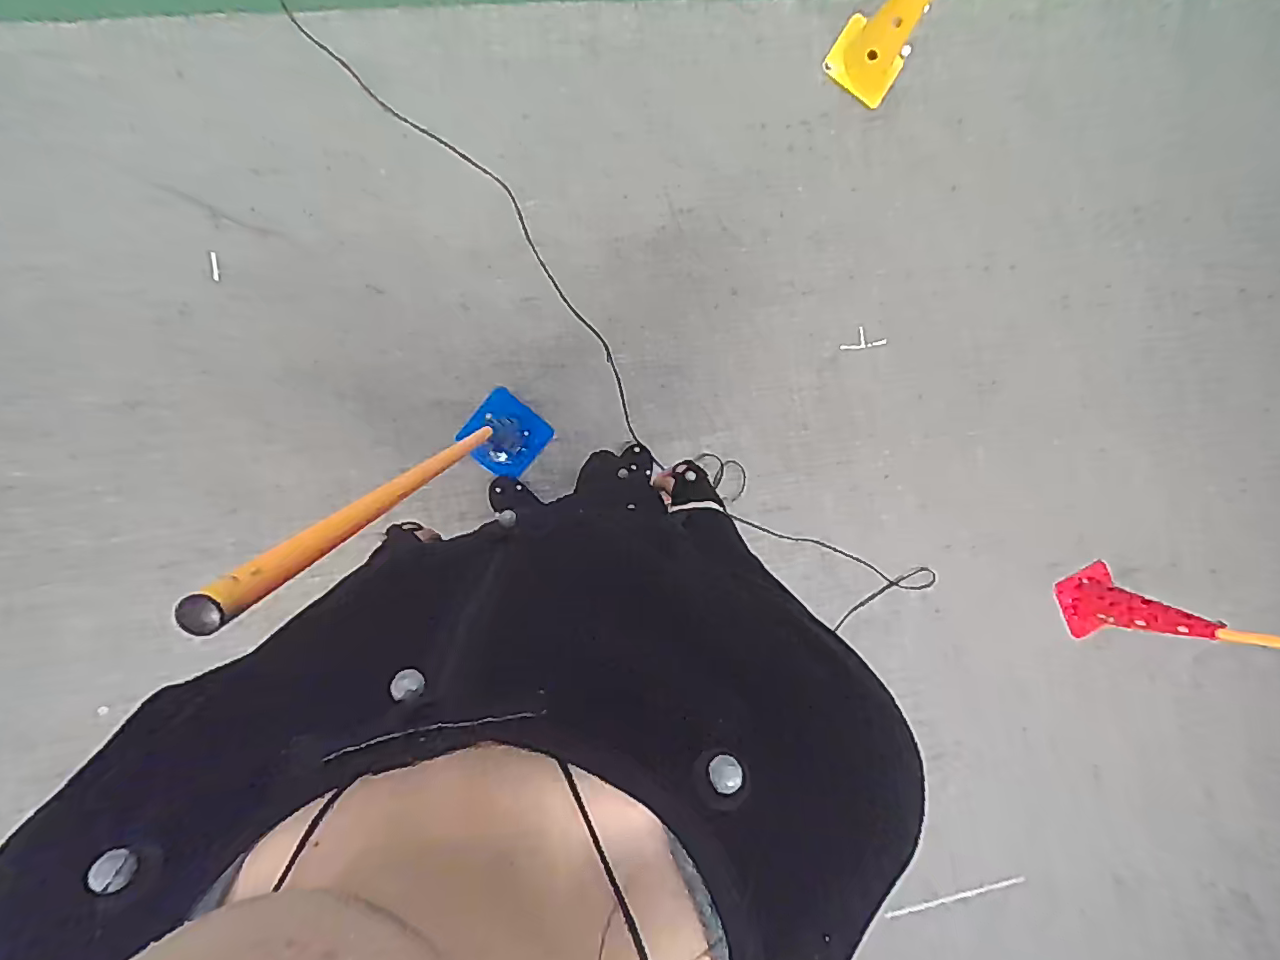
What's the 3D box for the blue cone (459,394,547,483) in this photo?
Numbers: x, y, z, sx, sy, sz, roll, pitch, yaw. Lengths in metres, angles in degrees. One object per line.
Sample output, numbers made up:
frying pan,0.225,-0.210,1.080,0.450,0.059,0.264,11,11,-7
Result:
blue cone,-0.339,-0.096,1.274,0.192,0.380,0.193,38,88,-9
